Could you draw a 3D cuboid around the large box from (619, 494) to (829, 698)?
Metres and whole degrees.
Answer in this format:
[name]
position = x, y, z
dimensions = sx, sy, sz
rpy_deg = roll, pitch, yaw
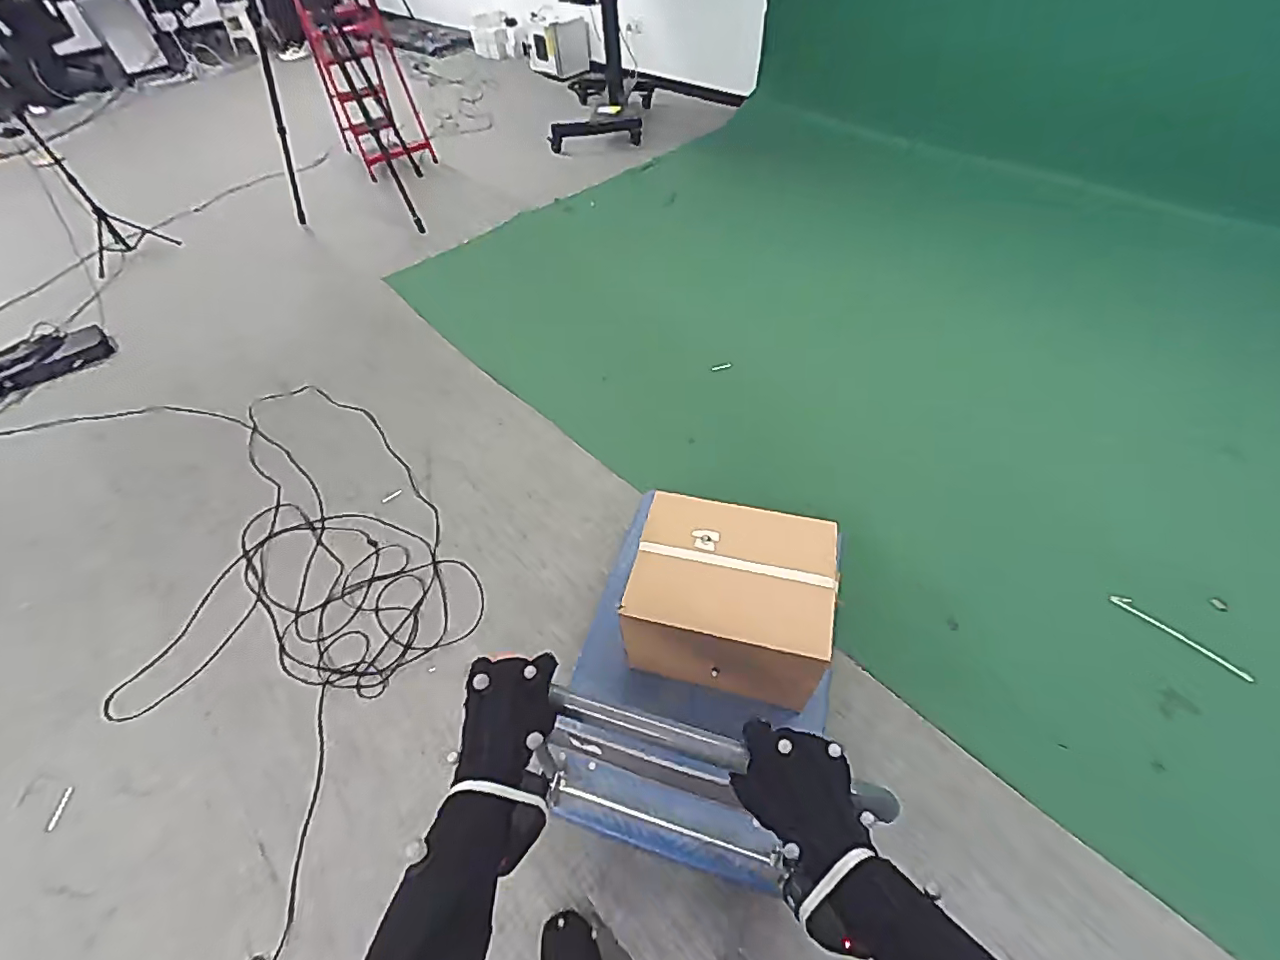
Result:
[large box]
position = 0.198, 0.267, 1.239
dimensions = 0.408, 0.320, 0.320
rpy_deg = 9, 52, 12
